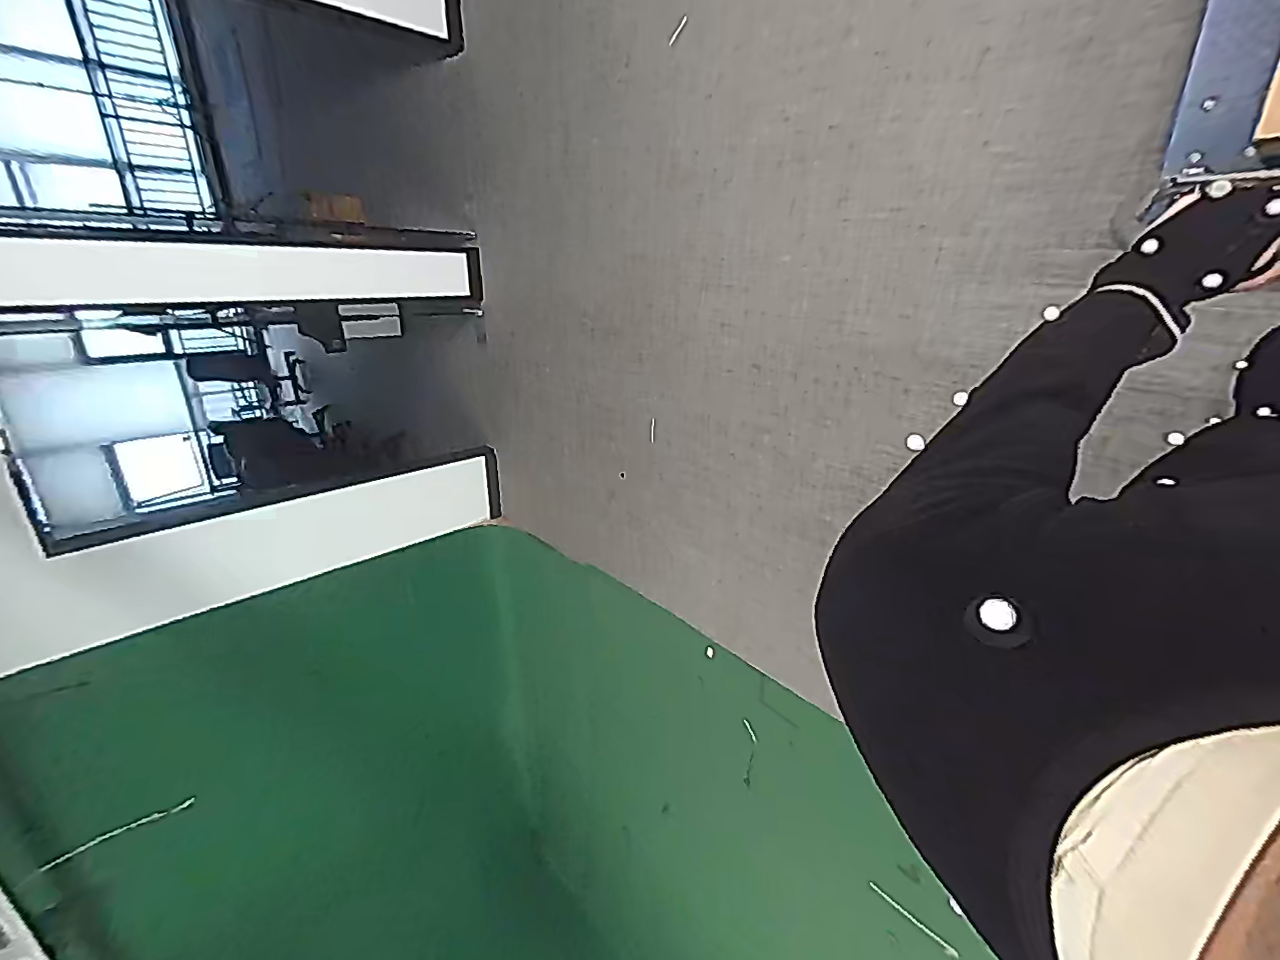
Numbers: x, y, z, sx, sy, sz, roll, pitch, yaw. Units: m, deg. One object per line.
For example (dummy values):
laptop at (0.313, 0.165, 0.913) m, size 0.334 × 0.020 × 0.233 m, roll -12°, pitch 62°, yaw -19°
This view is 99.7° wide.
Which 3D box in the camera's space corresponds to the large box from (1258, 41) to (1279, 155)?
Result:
large box at (1.023, -0.647, 0.634) m, size 0.320 × 0.320 × 0.408 m, roll 20°, pitch 121°, yaw 43°
